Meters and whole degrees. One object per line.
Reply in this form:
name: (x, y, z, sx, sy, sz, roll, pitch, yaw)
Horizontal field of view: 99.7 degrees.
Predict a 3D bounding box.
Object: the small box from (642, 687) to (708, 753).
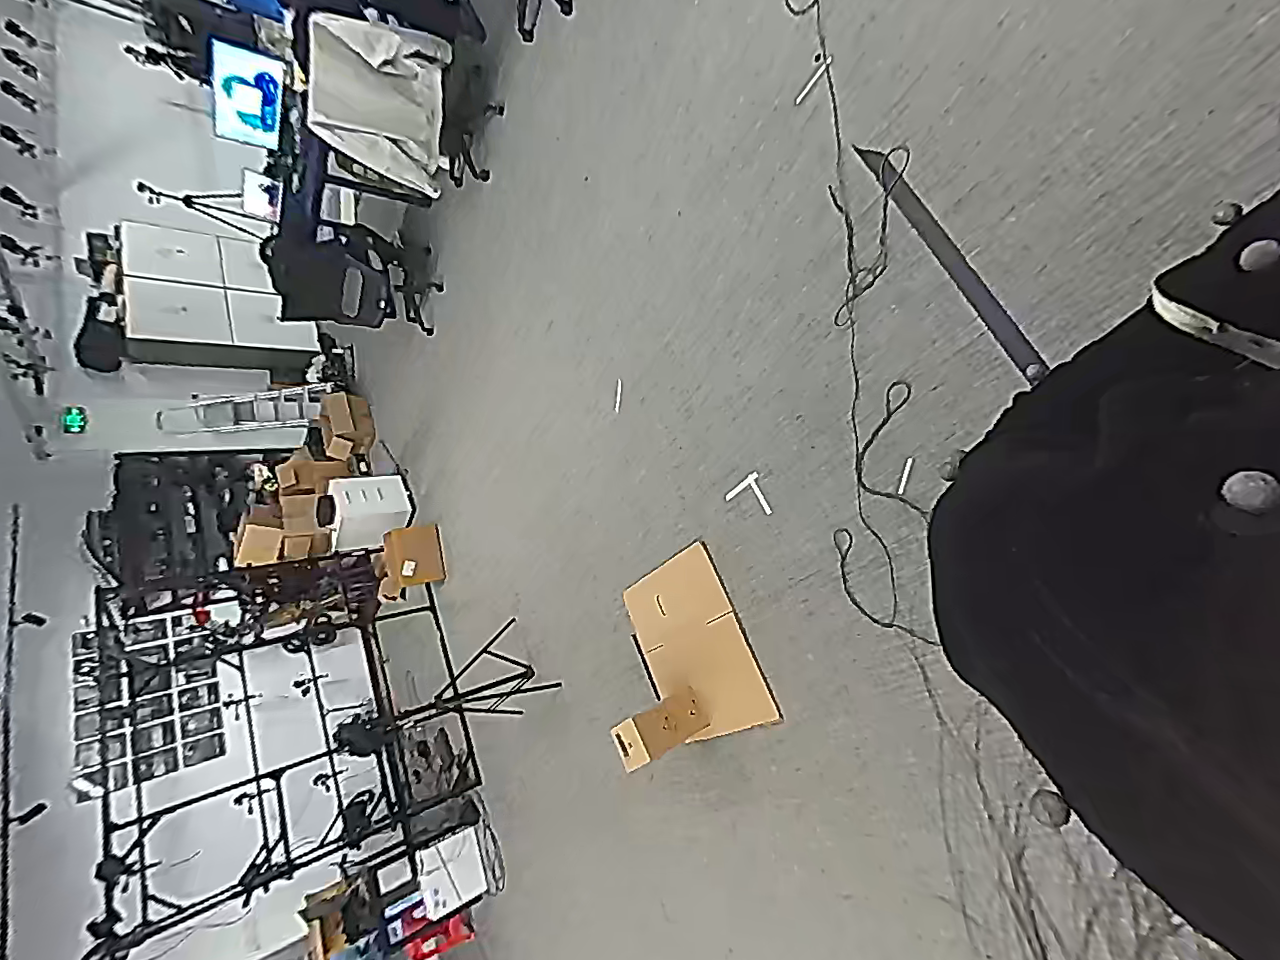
small box: (0.142, 0.963, 2.178, 0.168, 0.176, 0.179, 59, 134, 26)
